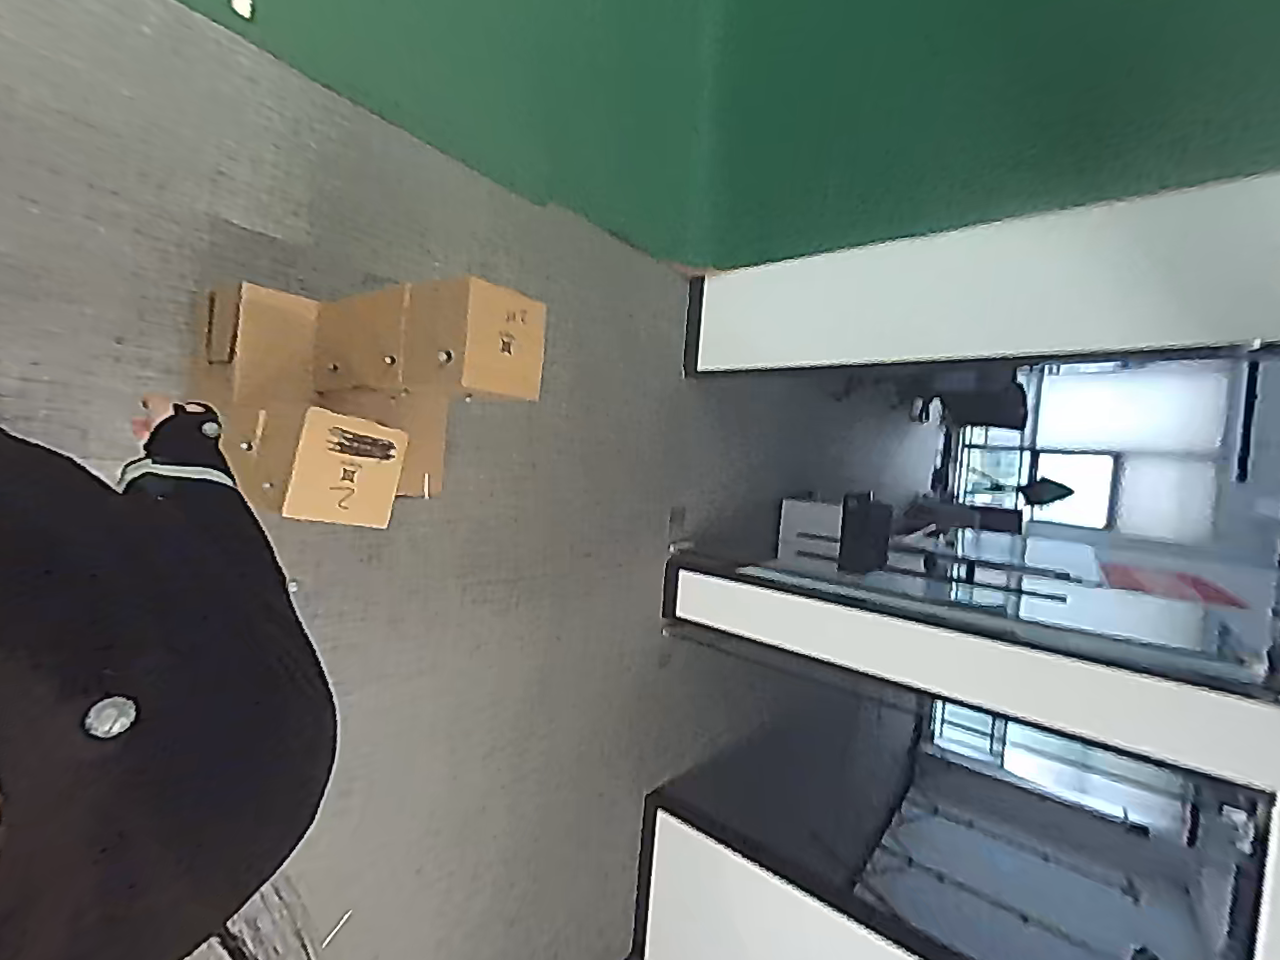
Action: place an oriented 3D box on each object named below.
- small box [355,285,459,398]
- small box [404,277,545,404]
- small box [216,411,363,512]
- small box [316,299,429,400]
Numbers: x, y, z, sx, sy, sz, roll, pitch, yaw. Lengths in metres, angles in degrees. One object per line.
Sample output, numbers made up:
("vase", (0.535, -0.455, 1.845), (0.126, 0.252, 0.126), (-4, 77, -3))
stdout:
("small box", (-0.425, -0.257, 1.039), (0.168, 0.176, 0.179), (1, 96, -55))
("small box", (-0.291, -0.233, 0.946), (0.168, 0.176, 0.179), (3, 92, -55))
("small box", (-0.662, -0.036, 1.025), (0.179, 0.176, 0.168), (9, 88, -53))
("small box", (-0.557, -0.263, 1.134), (0.168, 0.176, 0.179), (-1, 95, -54))
